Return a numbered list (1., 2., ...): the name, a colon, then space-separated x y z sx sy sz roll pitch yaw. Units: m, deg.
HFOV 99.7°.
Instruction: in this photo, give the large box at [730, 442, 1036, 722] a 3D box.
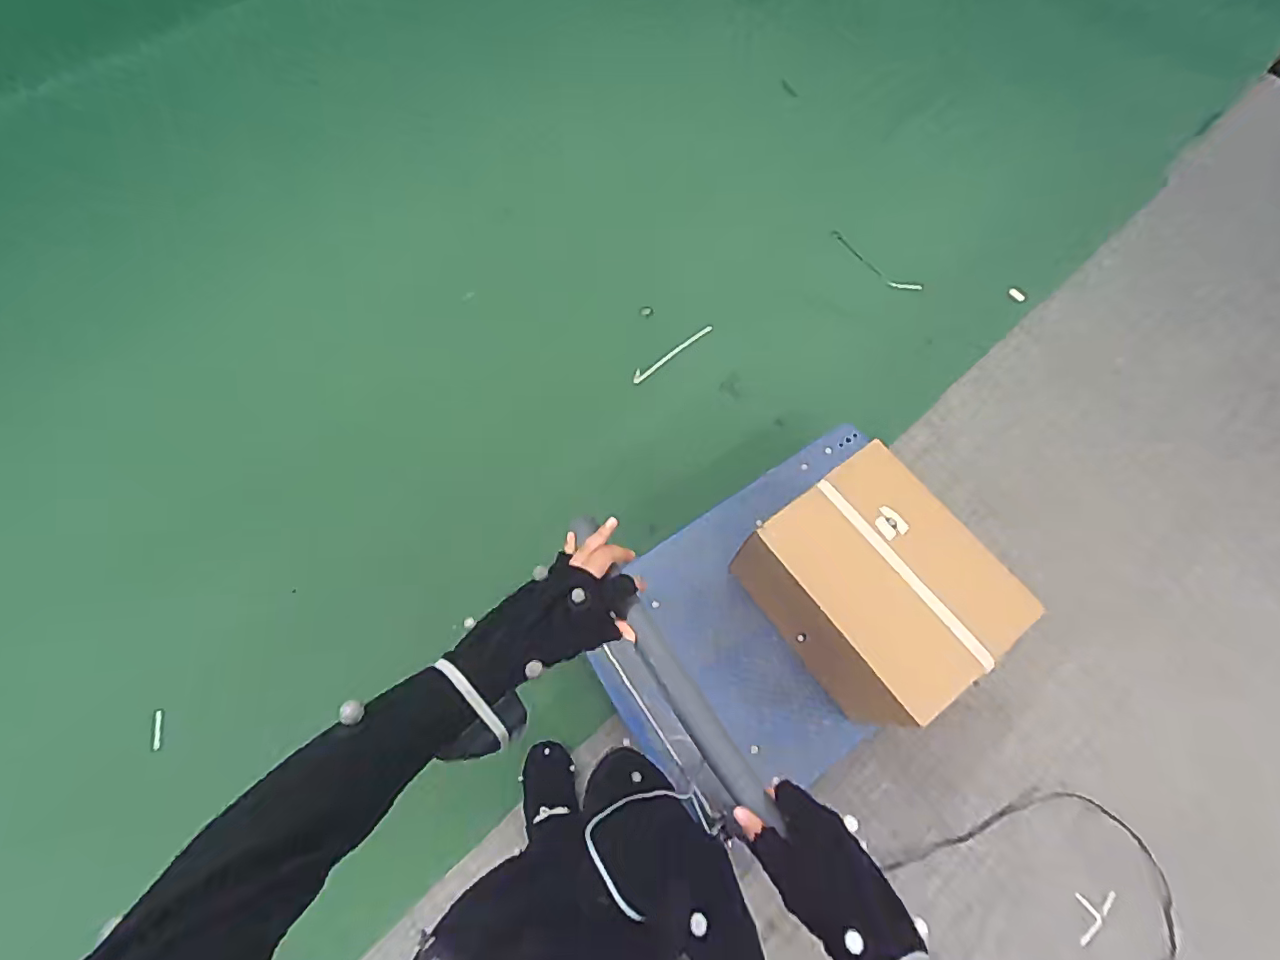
1. large box: 0.437 0.211 1.079 0.320 0.320 0.408 -34 71 -13
